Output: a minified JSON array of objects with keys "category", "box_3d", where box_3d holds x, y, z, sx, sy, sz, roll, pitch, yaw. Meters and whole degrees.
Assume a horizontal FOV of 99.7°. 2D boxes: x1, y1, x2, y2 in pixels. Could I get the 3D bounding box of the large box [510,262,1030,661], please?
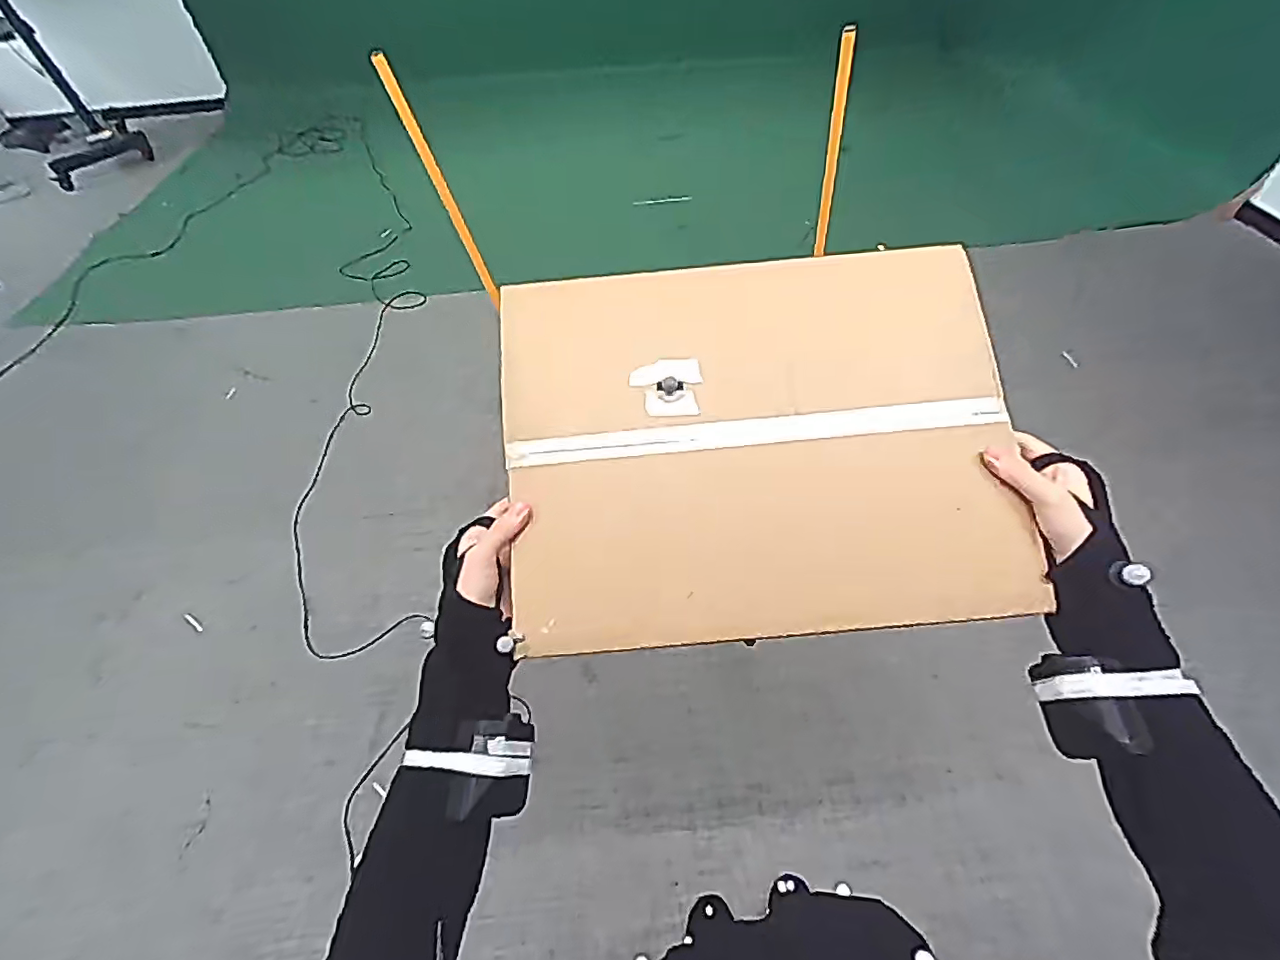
[{"category":"large box","box_3d":[0.101,0.006,0.601,0.408,0.320,0.320,-6,76,2]}]
